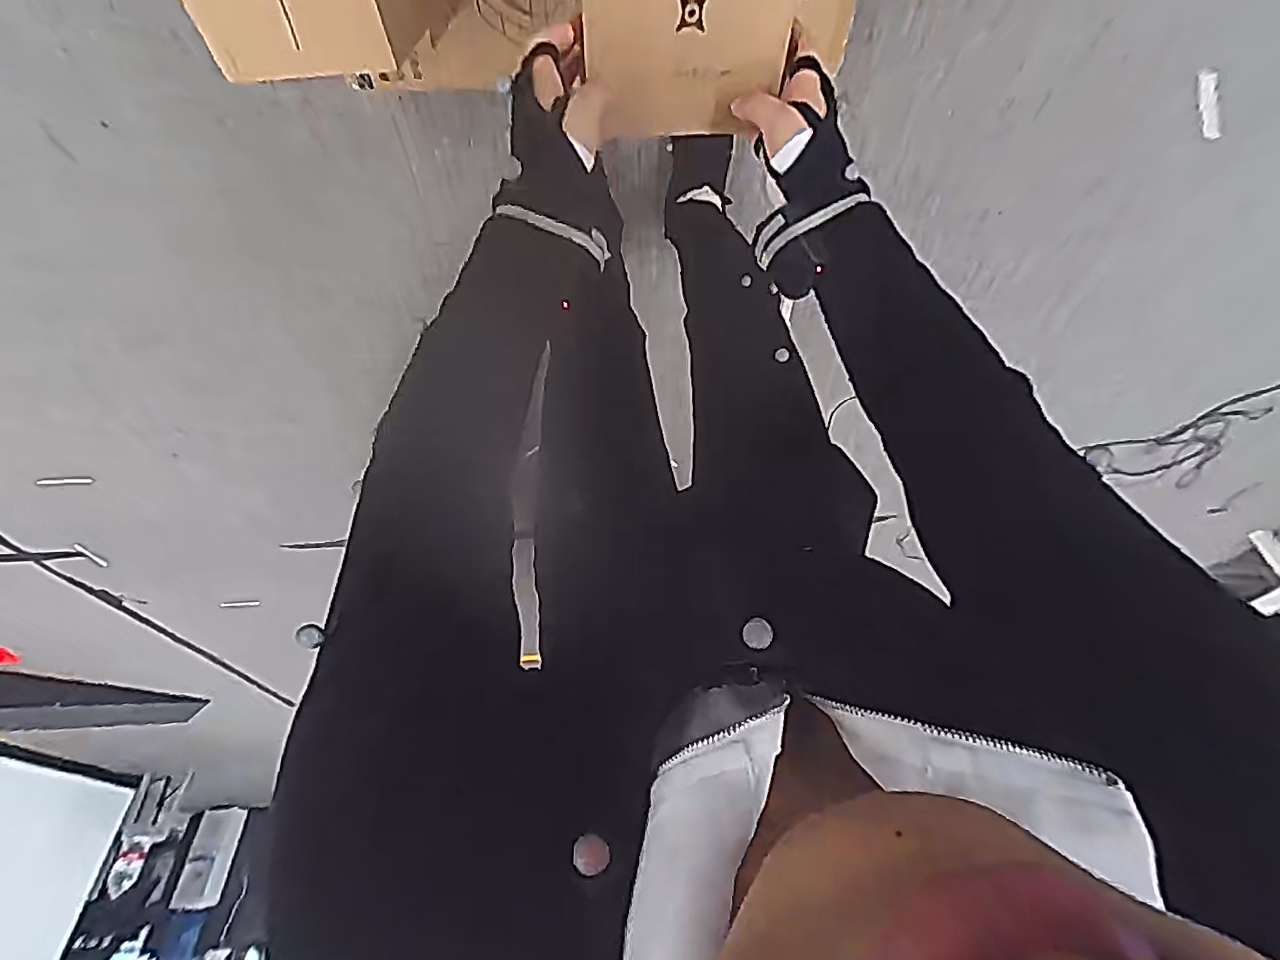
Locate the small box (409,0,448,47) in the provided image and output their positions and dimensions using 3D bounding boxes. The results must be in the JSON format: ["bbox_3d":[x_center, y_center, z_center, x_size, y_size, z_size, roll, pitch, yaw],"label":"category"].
[{"bbox_3d":[-0.332,-0.620,0.614,0.168,0.176,0.179,-3,141,-2],"label":"small box"}]

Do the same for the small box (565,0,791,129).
[{"bbox_3d":[0.022,-0.426,0.452,0.168,0.176,0.179,-6,145,-7],"label":"small box"}]

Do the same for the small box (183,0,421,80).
[{"bbox_3d":[-0.322,-0.503,0.499,0.168,0.176,0.179,-5,142,-1],"label":"small box"}]
